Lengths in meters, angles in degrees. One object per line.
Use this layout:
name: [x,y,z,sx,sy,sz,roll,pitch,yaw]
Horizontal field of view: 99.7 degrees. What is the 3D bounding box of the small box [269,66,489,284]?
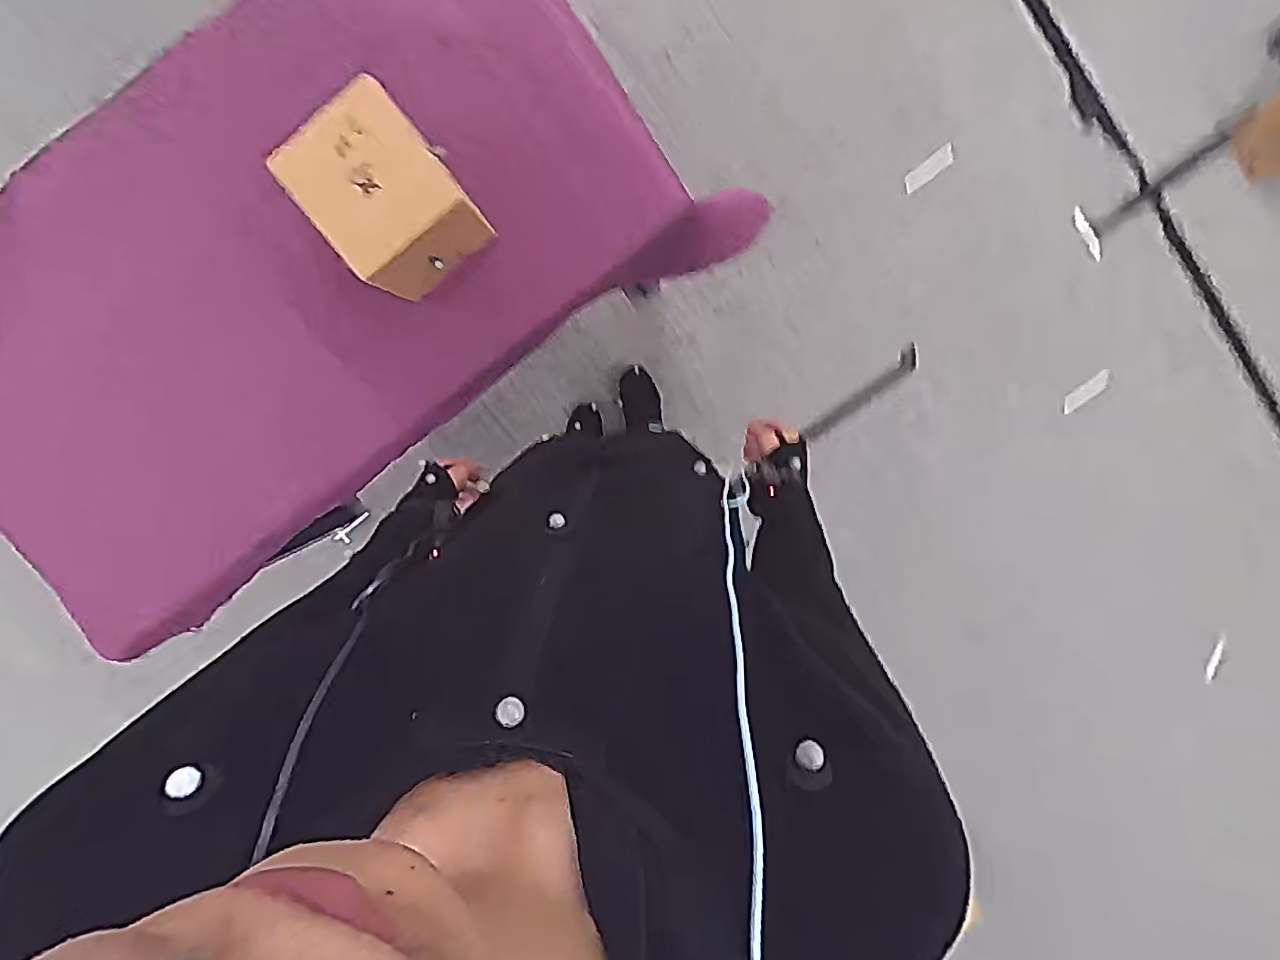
small box: [-0.333,-0.388,0.733,0.168,0.176,0.179,-37,99,6]
